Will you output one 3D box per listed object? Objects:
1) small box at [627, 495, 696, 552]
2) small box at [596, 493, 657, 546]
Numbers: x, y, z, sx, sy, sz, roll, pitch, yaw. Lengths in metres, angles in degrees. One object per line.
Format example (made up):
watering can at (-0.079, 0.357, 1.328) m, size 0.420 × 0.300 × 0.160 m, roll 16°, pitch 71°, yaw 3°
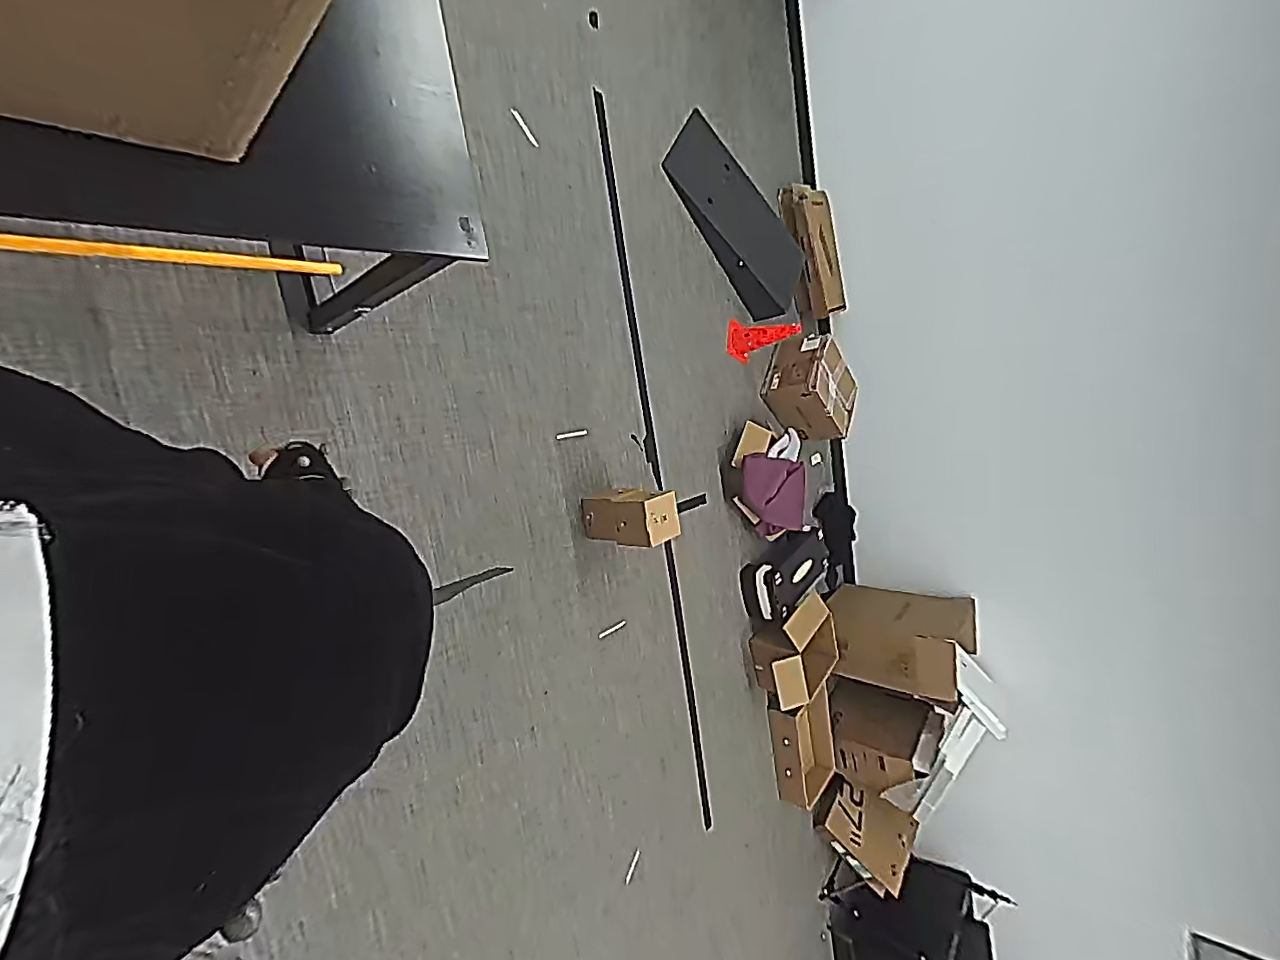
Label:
small box at (0.077, 0.151, 1.943) m, size 0.179 × 0.176 × 0.168 m, roll -18°, pitch 102°, yaw -47°
small box at (-0.043, 0.144, 2.057) m, size 0.179 × 0.176 × 0.168 m, roll -19°, pitch 103°, yaw -46°
